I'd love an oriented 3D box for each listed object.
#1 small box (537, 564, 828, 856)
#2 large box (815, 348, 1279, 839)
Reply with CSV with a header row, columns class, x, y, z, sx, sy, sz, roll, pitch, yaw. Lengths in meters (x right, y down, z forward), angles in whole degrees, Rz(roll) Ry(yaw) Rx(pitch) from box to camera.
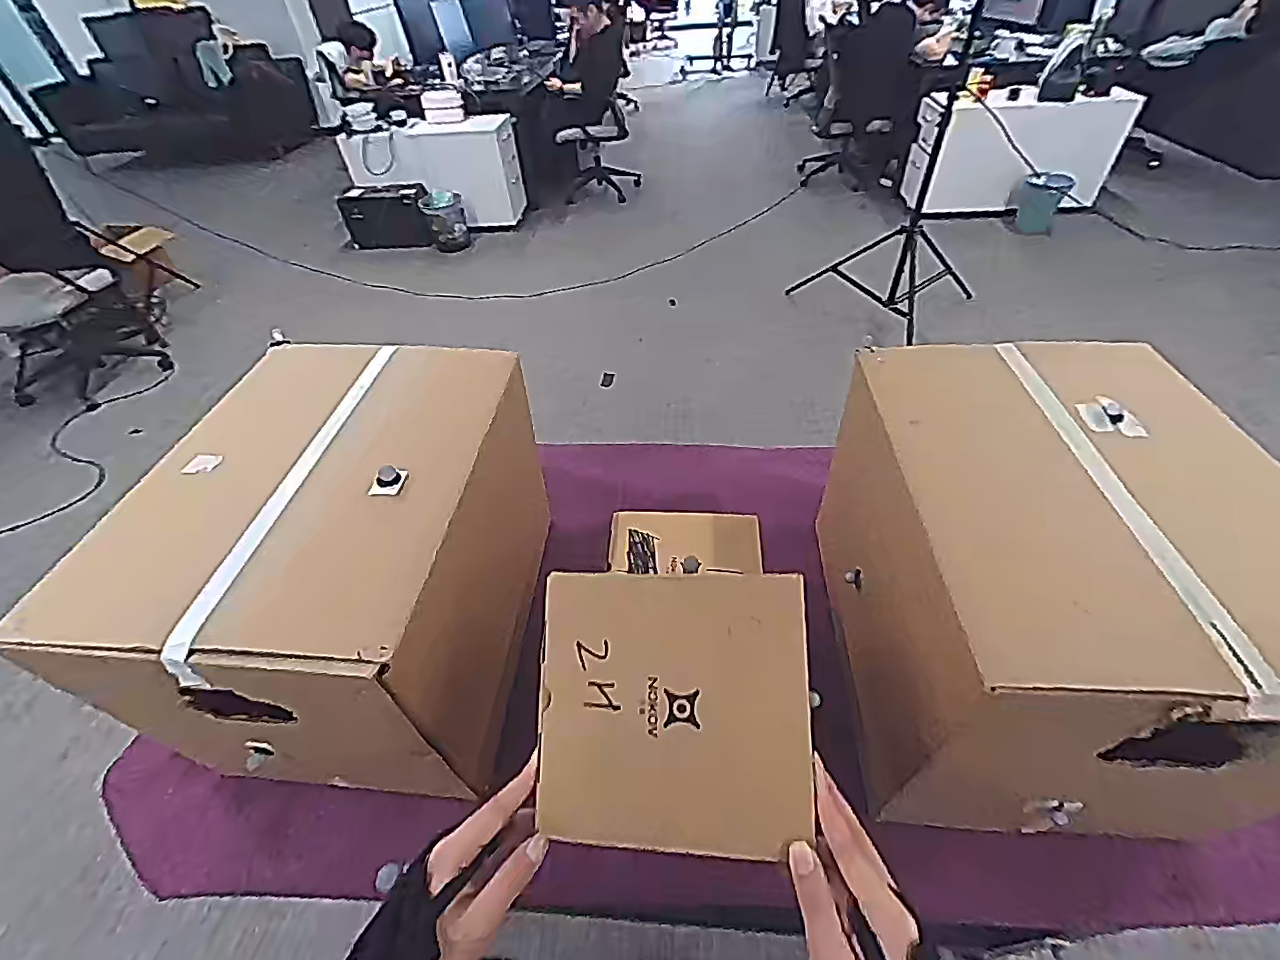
class,x,y,z,sx,sy,sz,roll,pitch,yaw
small box,0.037,0.152,0.413,0.179,0.176,0.168,-2,77,11
large box,0.391,0.104,0.565,0.320,0.320,0.408,1,44,5
